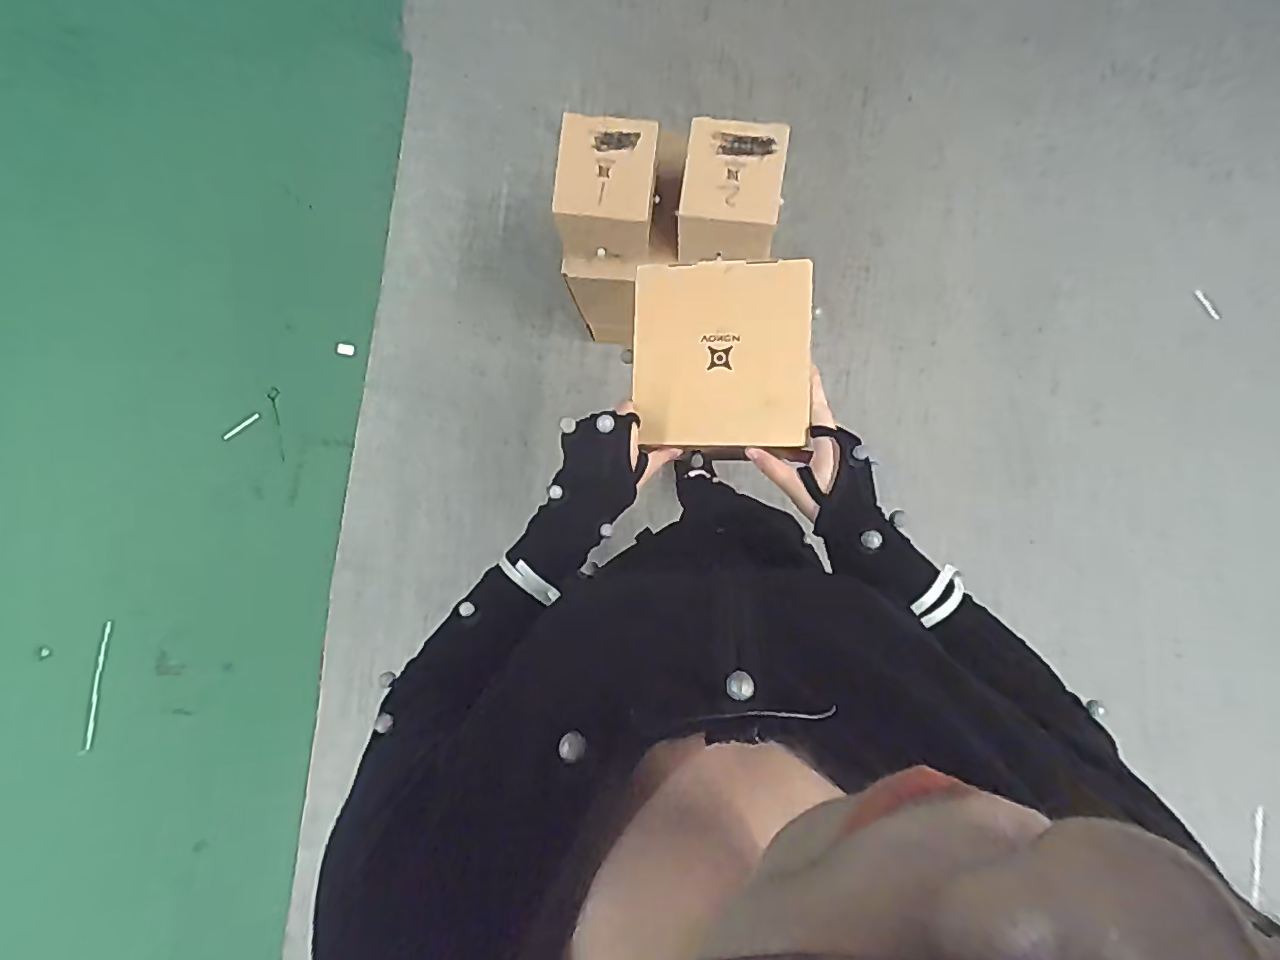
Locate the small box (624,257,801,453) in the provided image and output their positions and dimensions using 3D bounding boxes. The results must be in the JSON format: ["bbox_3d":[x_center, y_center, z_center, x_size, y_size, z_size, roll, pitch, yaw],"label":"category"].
[{"bbox_3d":[0.079,-0.122,0.594,0.168,0.176,0.179,1,88,8],"label":"small box"}]

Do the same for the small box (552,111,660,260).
[{"bbox_3d":[-0.057,-0.534,0.999,0.168,0.176,0.179,7,90,2],"label":"small box"}]
